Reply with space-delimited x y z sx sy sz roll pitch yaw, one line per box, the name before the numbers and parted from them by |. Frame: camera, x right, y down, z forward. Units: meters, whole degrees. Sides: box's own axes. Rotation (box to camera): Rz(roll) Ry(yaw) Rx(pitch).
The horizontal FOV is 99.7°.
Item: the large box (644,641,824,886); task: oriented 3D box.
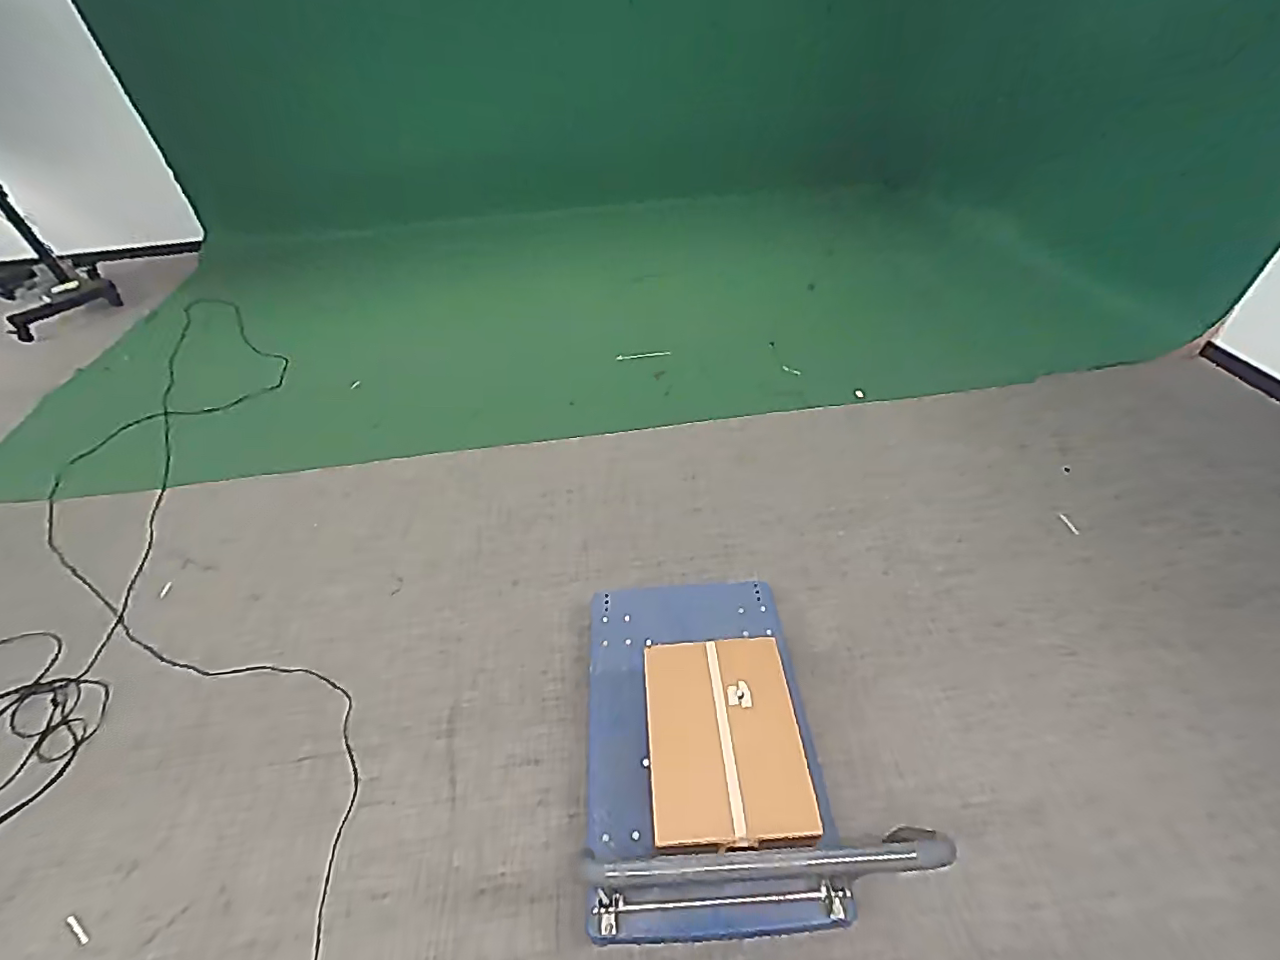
large box | 0.183 0.636 1.231 0.320 0.320 0.408 -4 43 -1
